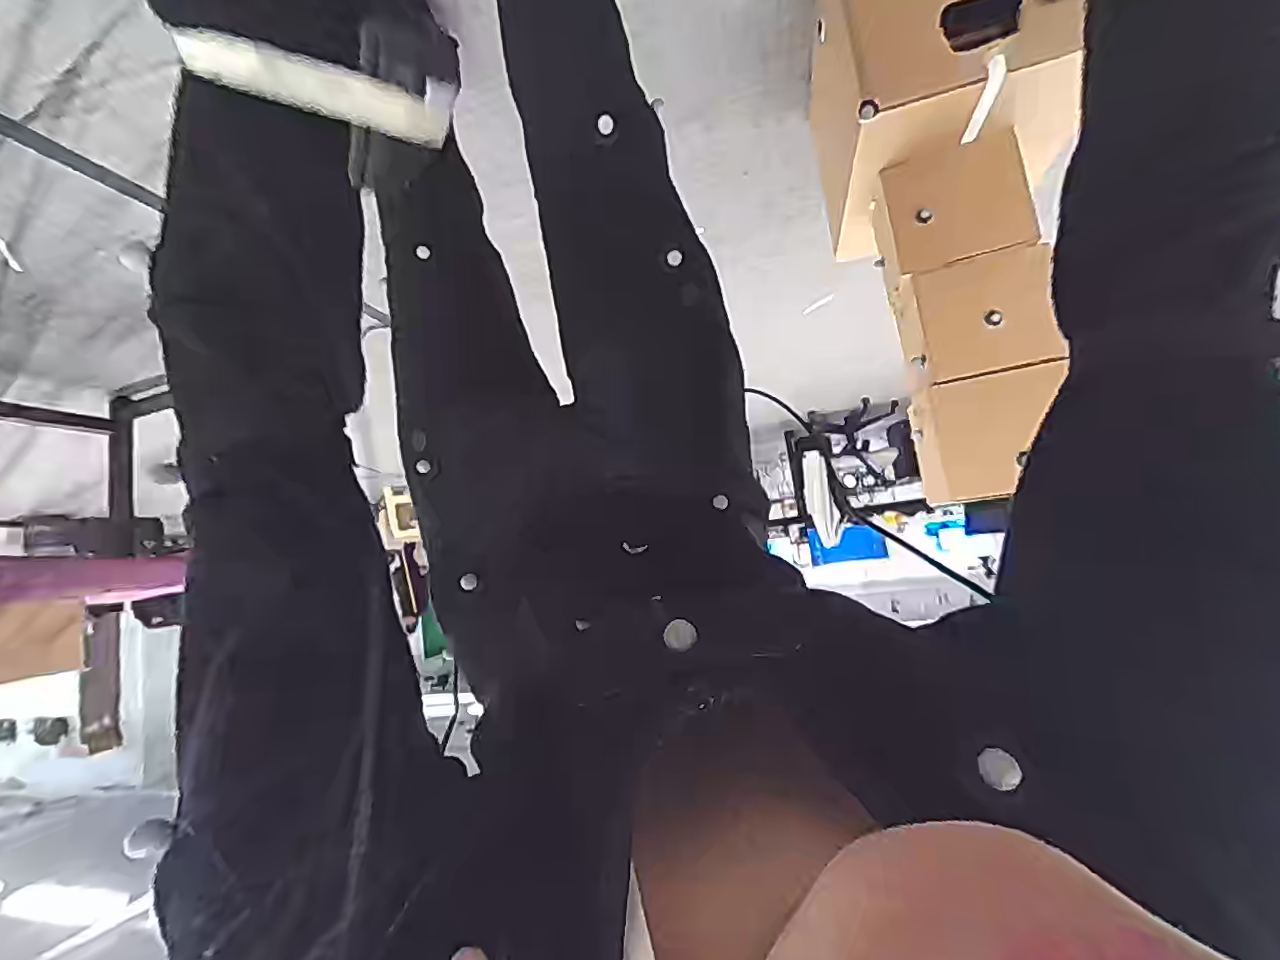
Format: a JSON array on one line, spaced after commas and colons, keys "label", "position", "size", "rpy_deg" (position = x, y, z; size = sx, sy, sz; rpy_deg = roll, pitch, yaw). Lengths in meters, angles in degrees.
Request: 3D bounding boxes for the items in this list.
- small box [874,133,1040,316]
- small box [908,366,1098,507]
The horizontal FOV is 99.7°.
[{"label": "small box", "position": [0.469, -0.381, 0.831], "size": [0.179, 0.176, 0.168], "rpy_deg": [-11, 173, 19]}, {"label": "small box", "position": [0.518, -0.057, 0.800], "size": [0.179, 0.176, 0.168], "rpy_deg": [-10, 172, 17]}]
